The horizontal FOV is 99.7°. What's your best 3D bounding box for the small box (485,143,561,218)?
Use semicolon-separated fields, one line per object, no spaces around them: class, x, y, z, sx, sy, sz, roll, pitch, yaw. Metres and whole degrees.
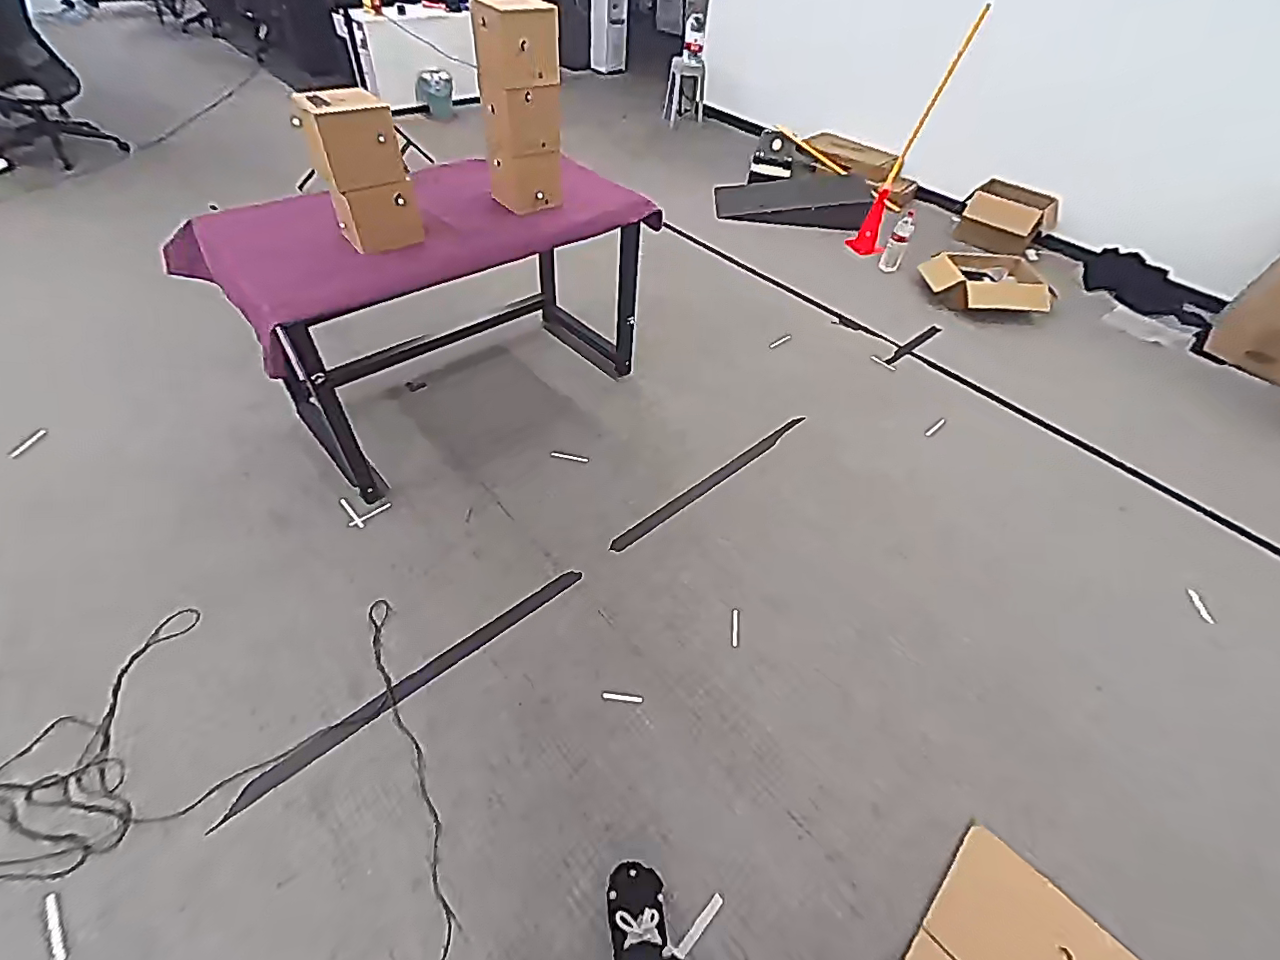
small box;-0.365;-0.954;1.705;0.168;0.176;0.179;-30;58;-27

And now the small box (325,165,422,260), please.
small box;-0.715;-0.728;1.472;0.179;0.176;0.168;-30;57;-27

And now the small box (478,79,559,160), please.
small box;-0.350;-1.059;1.580;0.168;0.176;0.179;-28;56;-26

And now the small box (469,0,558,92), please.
small box;-0.335;-1.163;1.455;0.168;0.176;0.179;-29;56;-26
